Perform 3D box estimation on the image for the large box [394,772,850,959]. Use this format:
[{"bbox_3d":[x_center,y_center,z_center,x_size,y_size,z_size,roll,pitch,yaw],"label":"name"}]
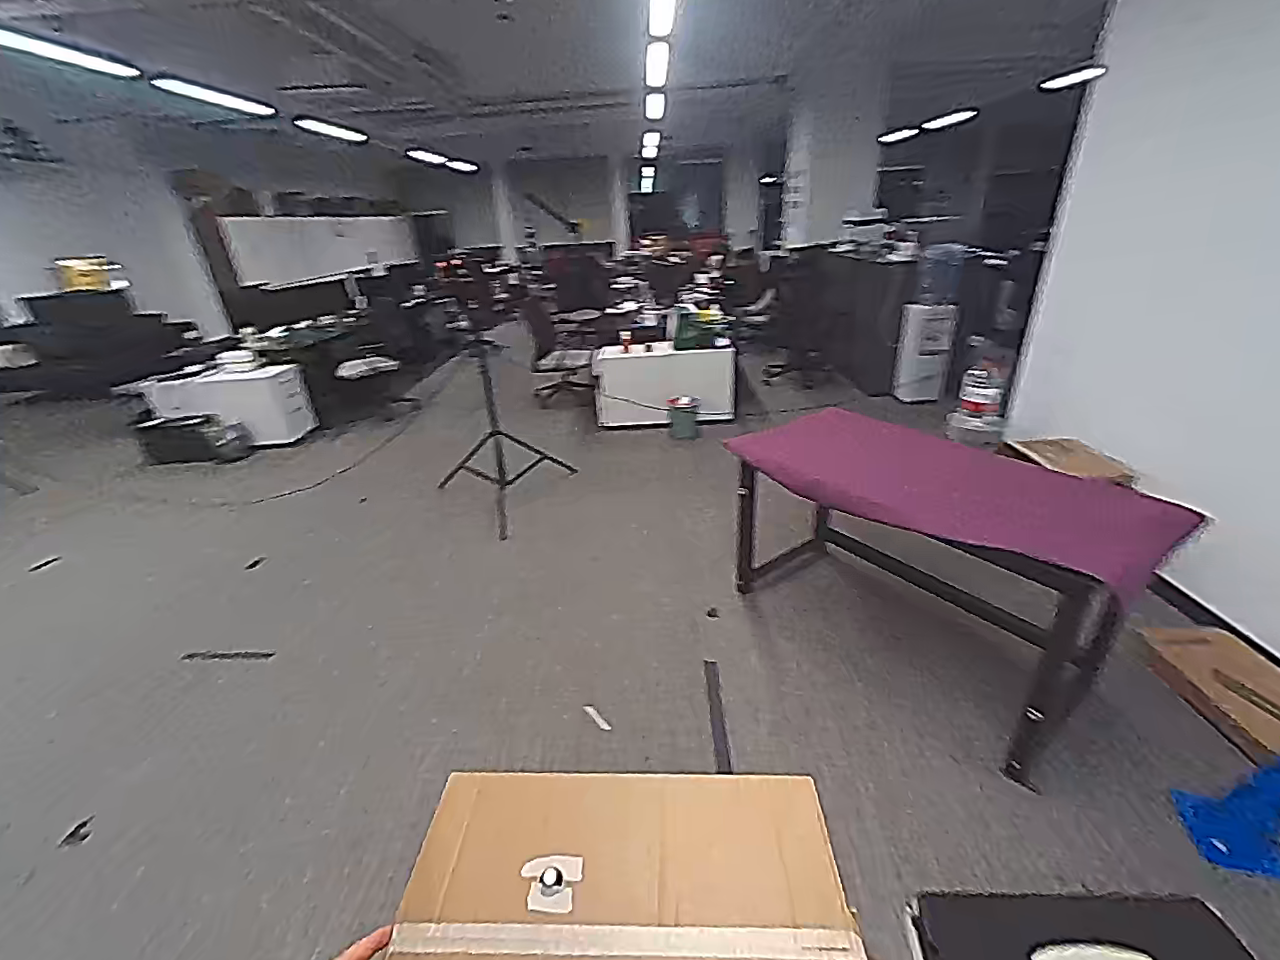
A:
[{"bbox_3d":[-0.009,0.539,0.544,0.408,0.320,0.320,-2,27,2],"label":"large box"}]
